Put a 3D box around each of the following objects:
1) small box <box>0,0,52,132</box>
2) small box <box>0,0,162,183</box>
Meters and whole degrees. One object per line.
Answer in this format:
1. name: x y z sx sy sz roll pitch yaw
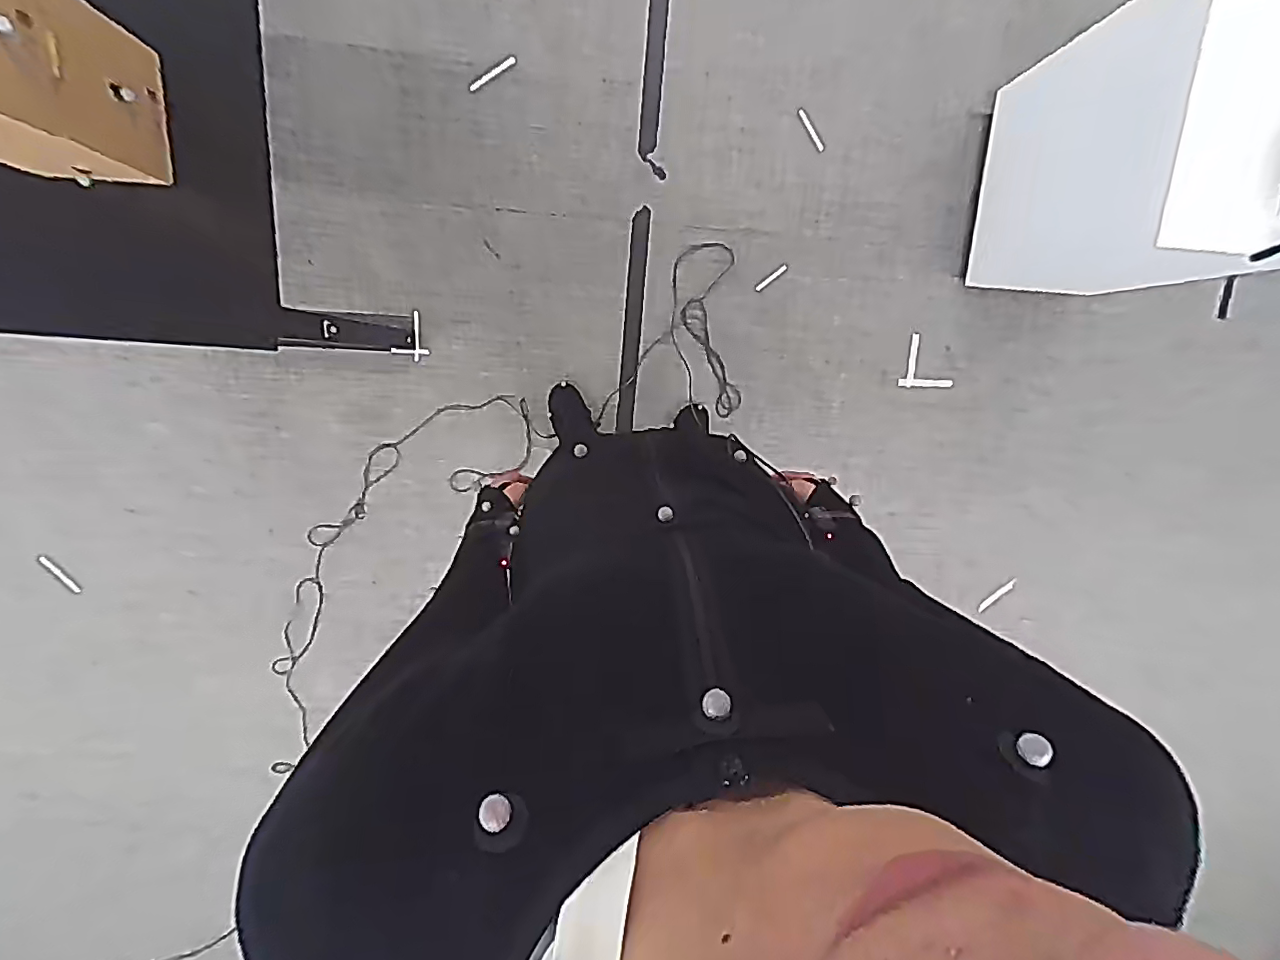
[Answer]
1. small box: -0.711 -0.440 0.486 0.179 0.176 0.168 2 102 -5
2. small box: -0.723 -0.473 0.647 0.179 0.176 0.168 1 101 -6
